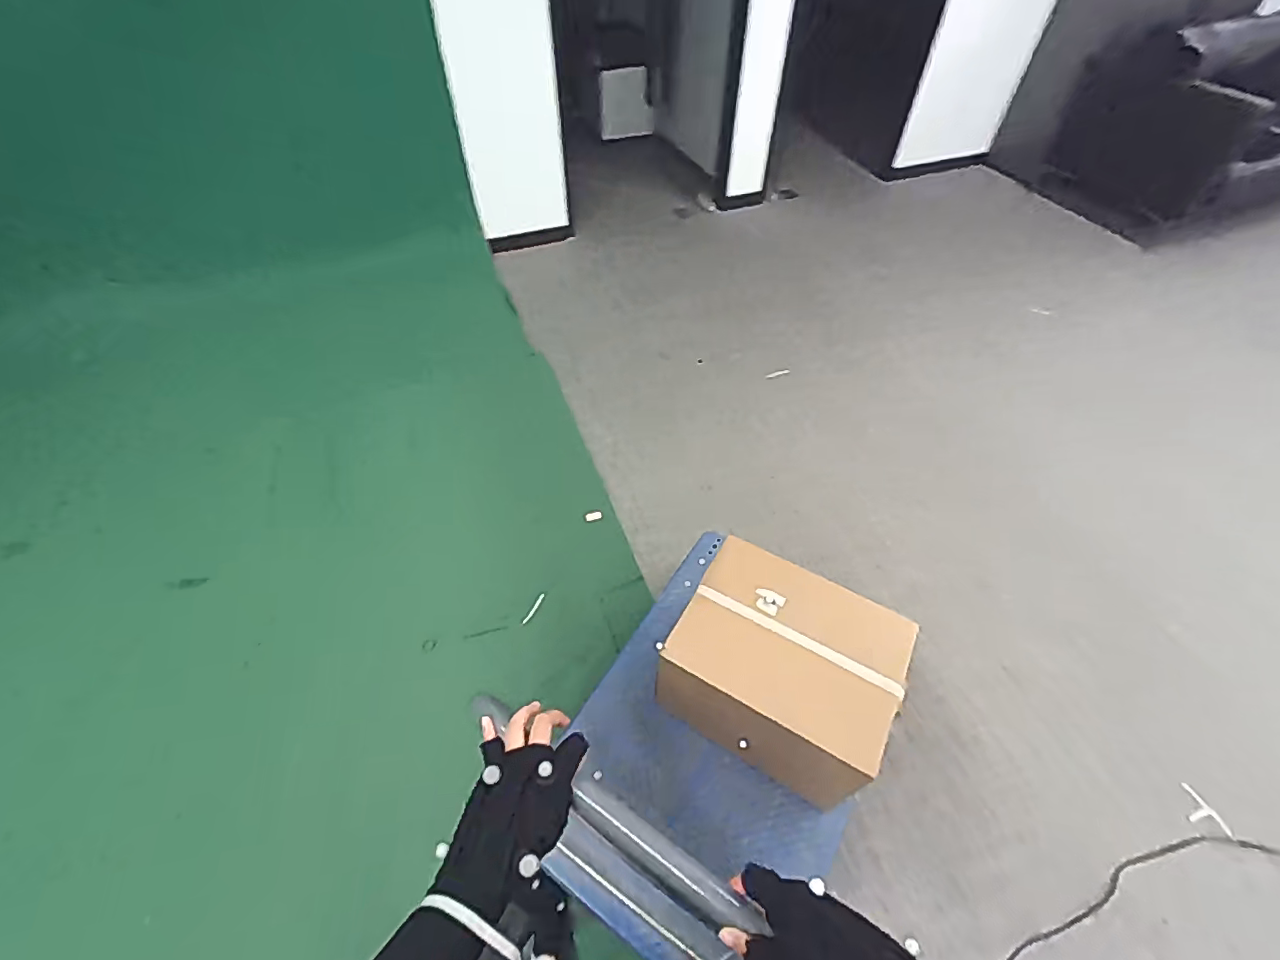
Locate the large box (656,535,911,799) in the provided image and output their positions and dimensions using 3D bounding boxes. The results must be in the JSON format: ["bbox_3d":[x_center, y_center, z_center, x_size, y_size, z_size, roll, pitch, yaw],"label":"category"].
[{"bbox_3d":[0.280,0.388,1.133,0.408,0.320,0.320,25,54,21],"label":"large box"}]
